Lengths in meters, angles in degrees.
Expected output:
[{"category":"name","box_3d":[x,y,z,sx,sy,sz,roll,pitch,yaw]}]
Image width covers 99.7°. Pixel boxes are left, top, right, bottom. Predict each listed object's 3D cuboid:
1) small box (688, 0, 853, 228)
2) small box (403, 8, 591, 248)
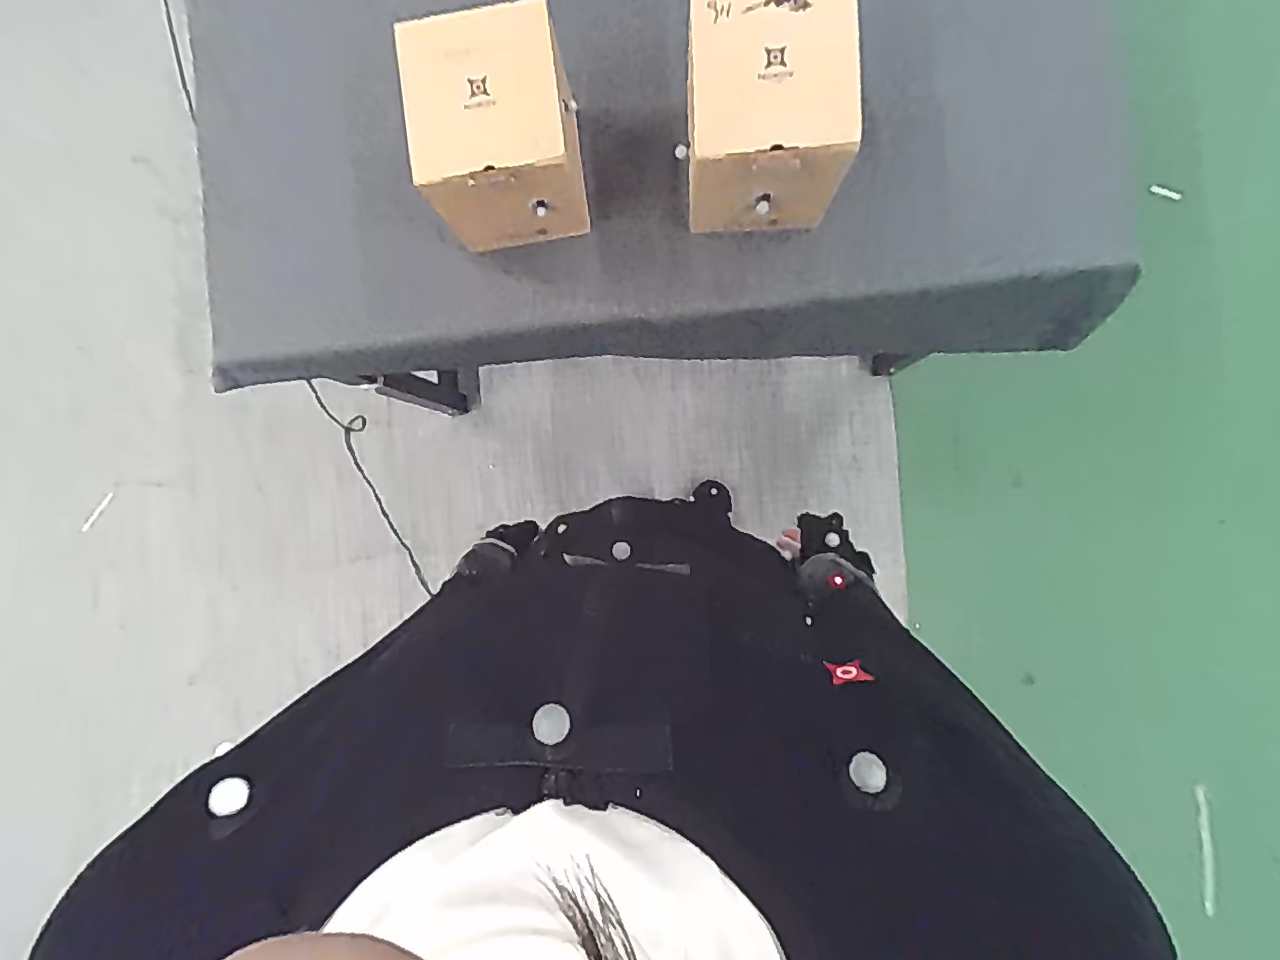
[{"category":"small box","box_3d":[0.140,-0.411,0.629,0.168,0.176,0.179,-1,90,5]},{"category":"small box","box_3d":[-0.161,-0.404,0.658,0.168,0.176,0.179,-8,87,4]}]
